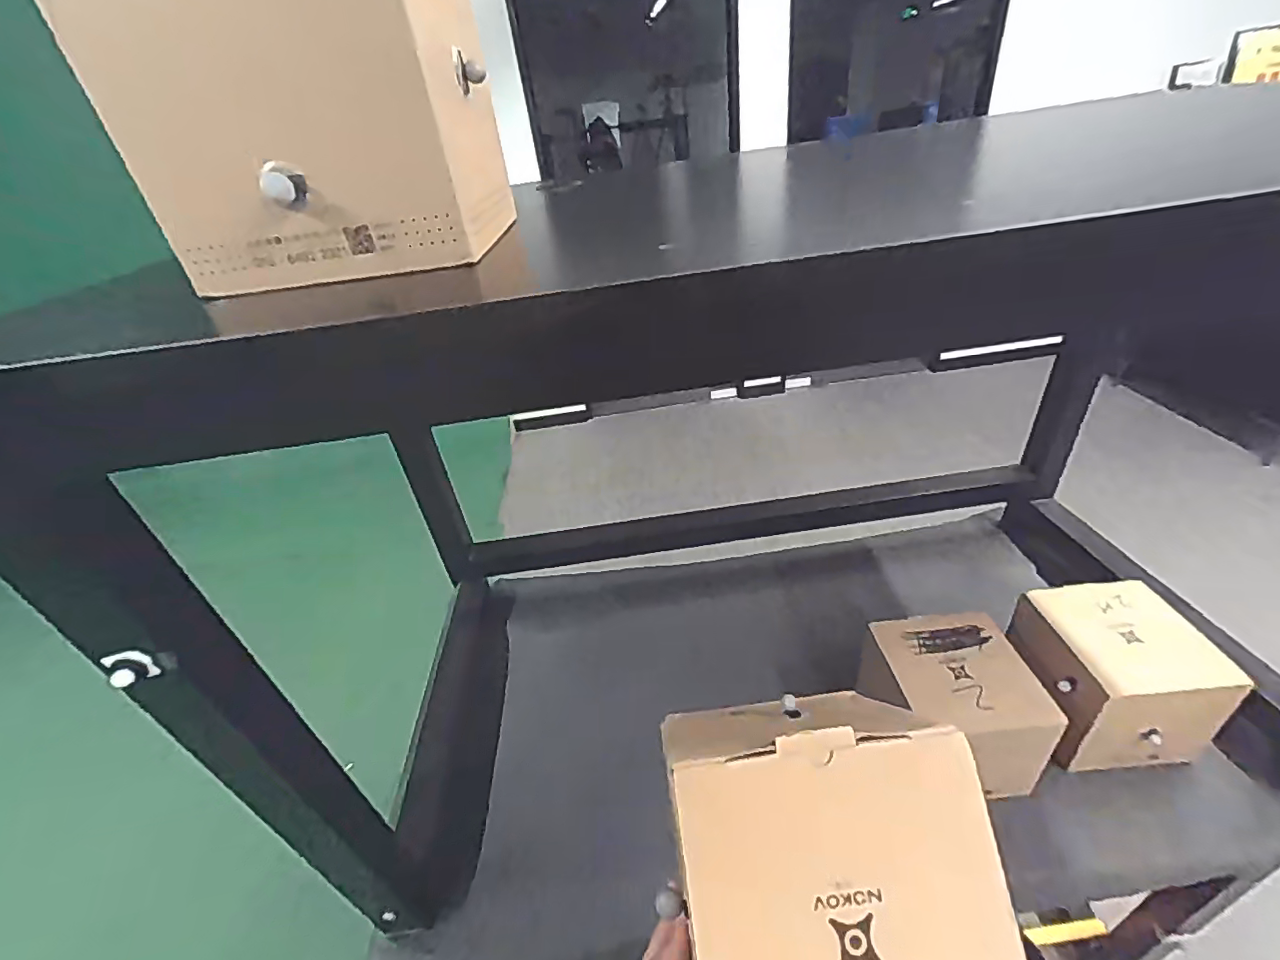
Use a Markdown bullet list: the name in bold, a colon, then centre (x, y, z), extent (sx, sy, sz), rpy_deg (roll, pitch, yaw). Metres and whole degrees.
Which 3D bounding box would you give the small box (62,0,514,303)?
- **small box**: centre (-0.186, -0.224, 0.344), extent (0.168, 0.176, 0.179), rpy_deg (-8, 34, 1)

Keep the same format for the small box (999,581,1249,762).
- **small box**: centre (0.641, 0.267, 0.747), extent (0.168, 0.176, 0.179), rpy_deg (-6, 33, 3)
